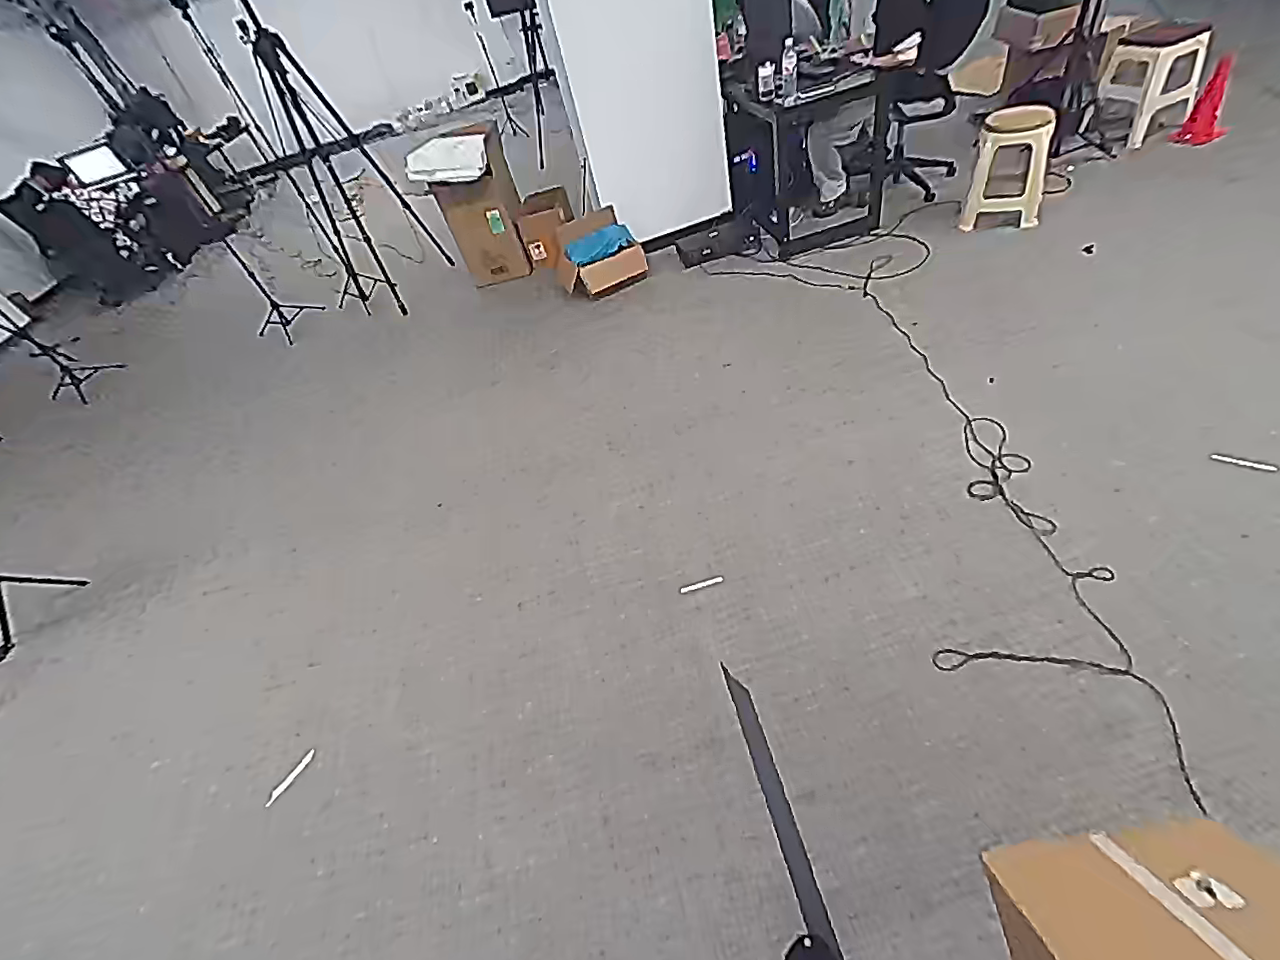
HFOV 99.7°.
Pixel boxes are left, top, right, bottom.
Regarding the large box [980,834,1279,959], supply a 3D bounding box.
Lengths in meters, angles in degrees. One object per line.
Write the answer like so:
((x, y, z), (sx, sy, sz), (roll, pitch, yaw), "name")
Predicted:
((0.650, 0.657, 0.565), (0.320, 0.408, 0.320), (-13, 82, 8), "large box")
